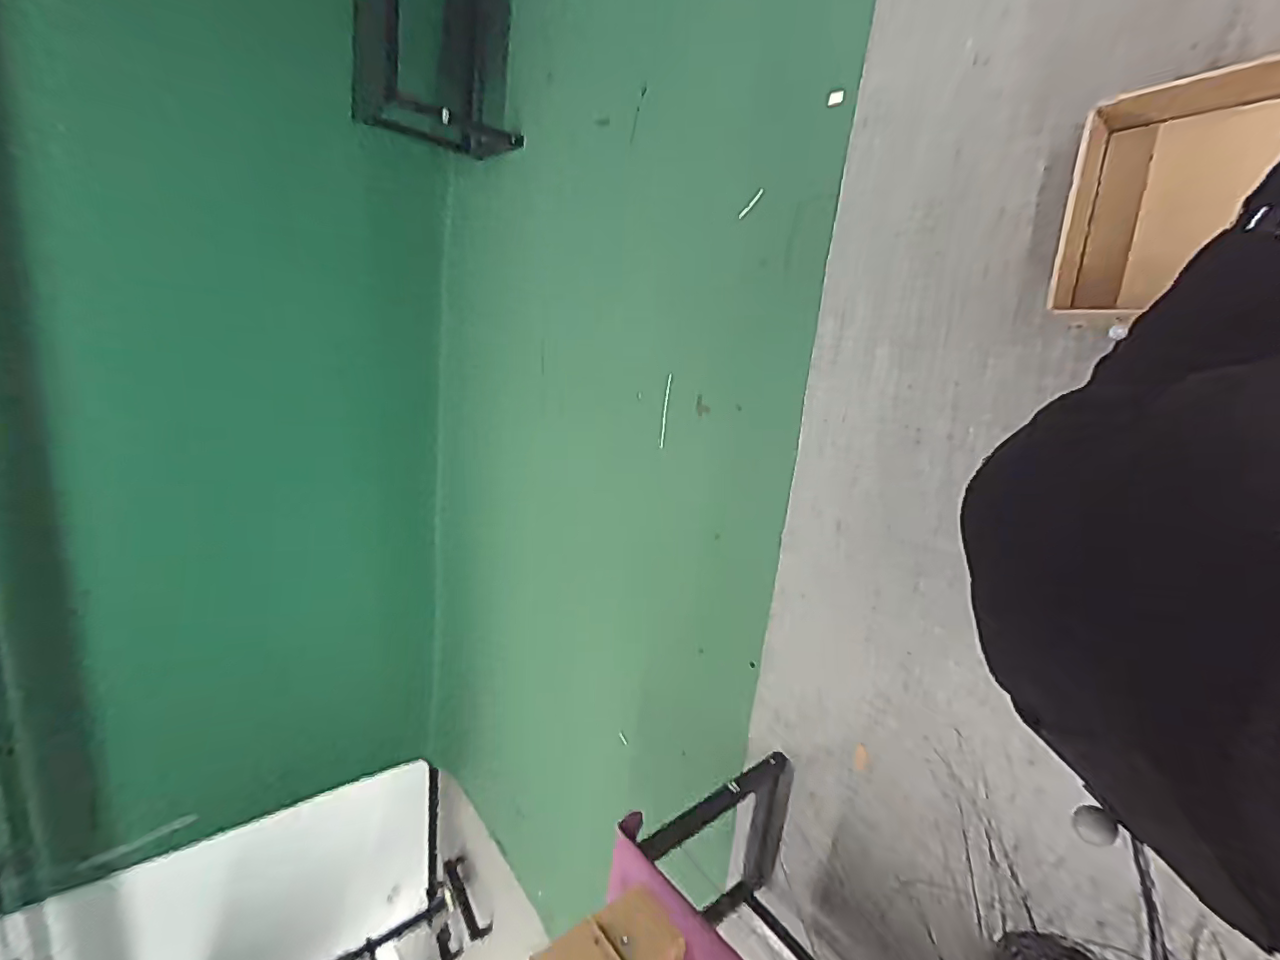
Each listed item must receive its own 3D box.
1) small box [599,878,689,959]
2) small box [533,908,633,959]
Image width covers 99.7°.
[{"bbox_3d":[-0.003,1.118,1.300,0.179,0.176,0.168,19,108,47],"label":"small box"},{"bbox_3d":[-0.125,1.113,1.189,0.168,0.176,0.179,22,111,46],"label":"small box"}]
